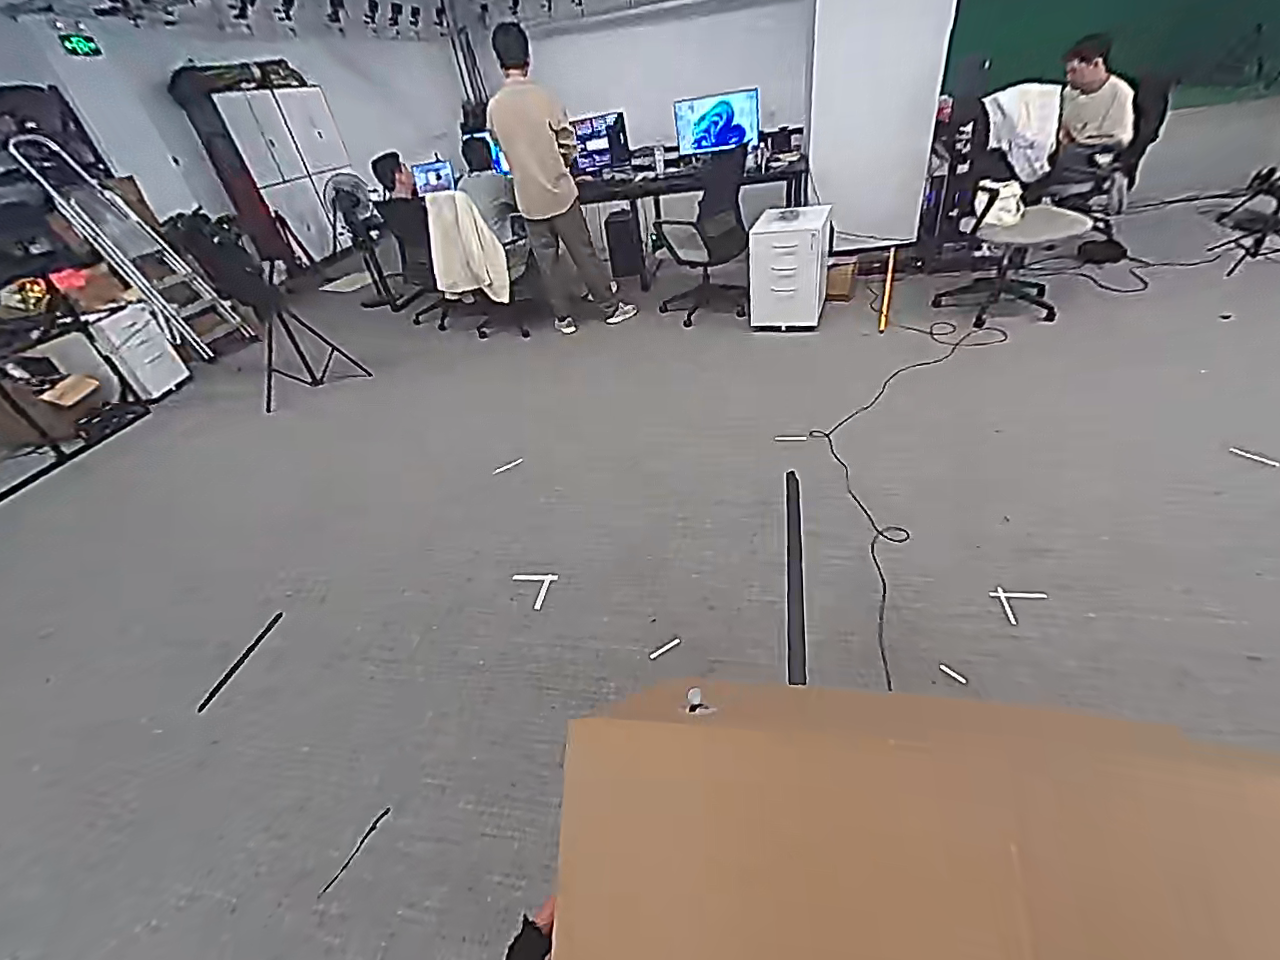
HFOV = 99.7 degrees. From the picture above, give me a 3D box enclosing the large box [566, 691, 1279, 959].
[{"bbox_3d":[0.182,0.336,0.400,0.408,0.320,0.320,-2,75,13],"label":"large box"}]
